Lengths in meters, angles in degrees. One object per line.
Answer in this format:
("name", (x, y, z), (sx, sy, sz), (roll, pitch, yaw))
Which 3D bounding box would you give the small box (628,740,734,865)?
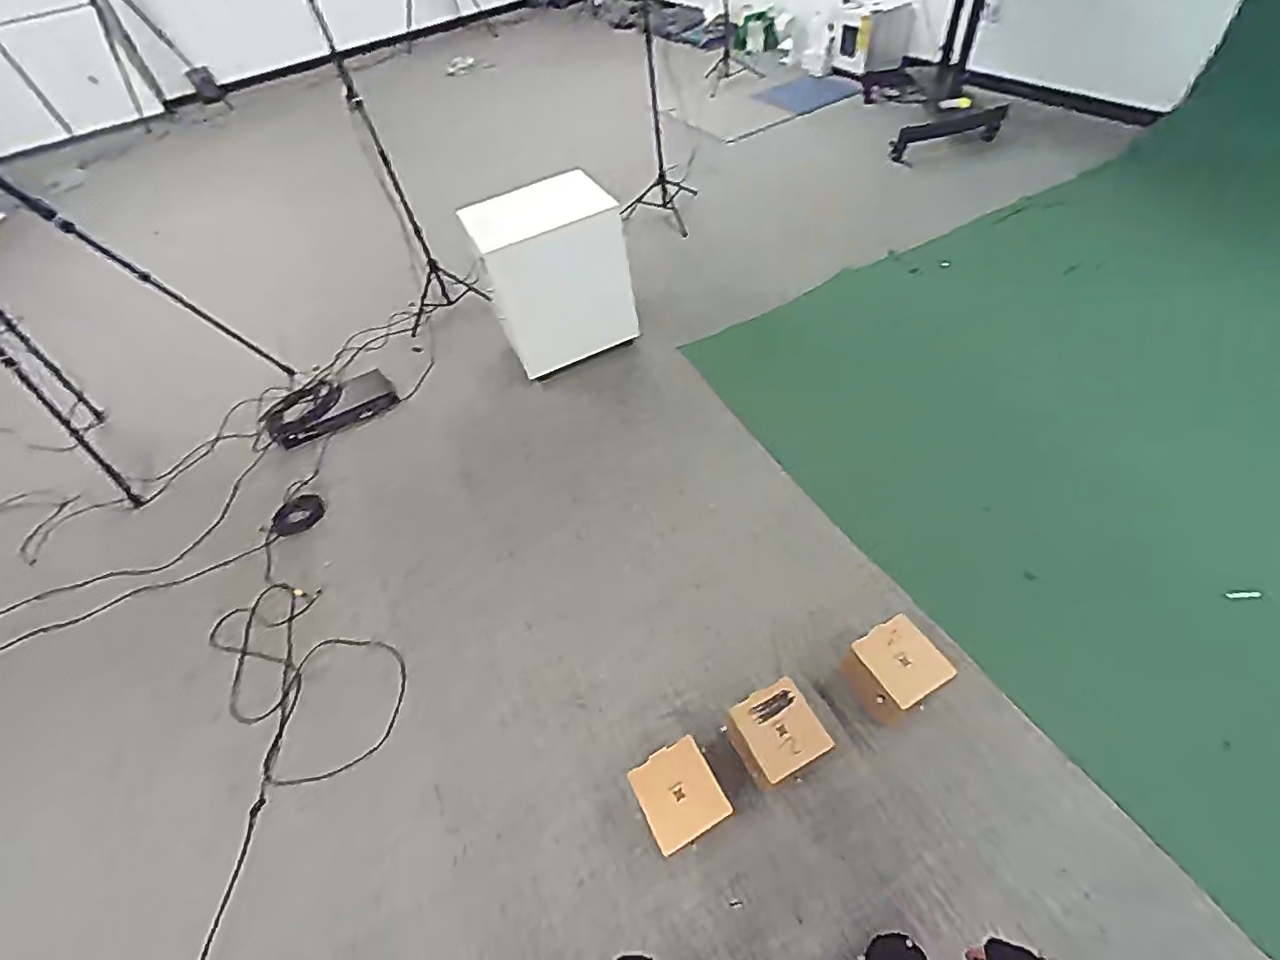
("small box", (0.094, 0.716, 1.195), (0.168, 0.176, 0.179), (-27, 52, -12))

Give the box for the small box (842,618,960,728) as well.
("small box", (0.620, 0.474, 1.308), (0.168, 0.176, 0.179), (-26, 52, -12))
